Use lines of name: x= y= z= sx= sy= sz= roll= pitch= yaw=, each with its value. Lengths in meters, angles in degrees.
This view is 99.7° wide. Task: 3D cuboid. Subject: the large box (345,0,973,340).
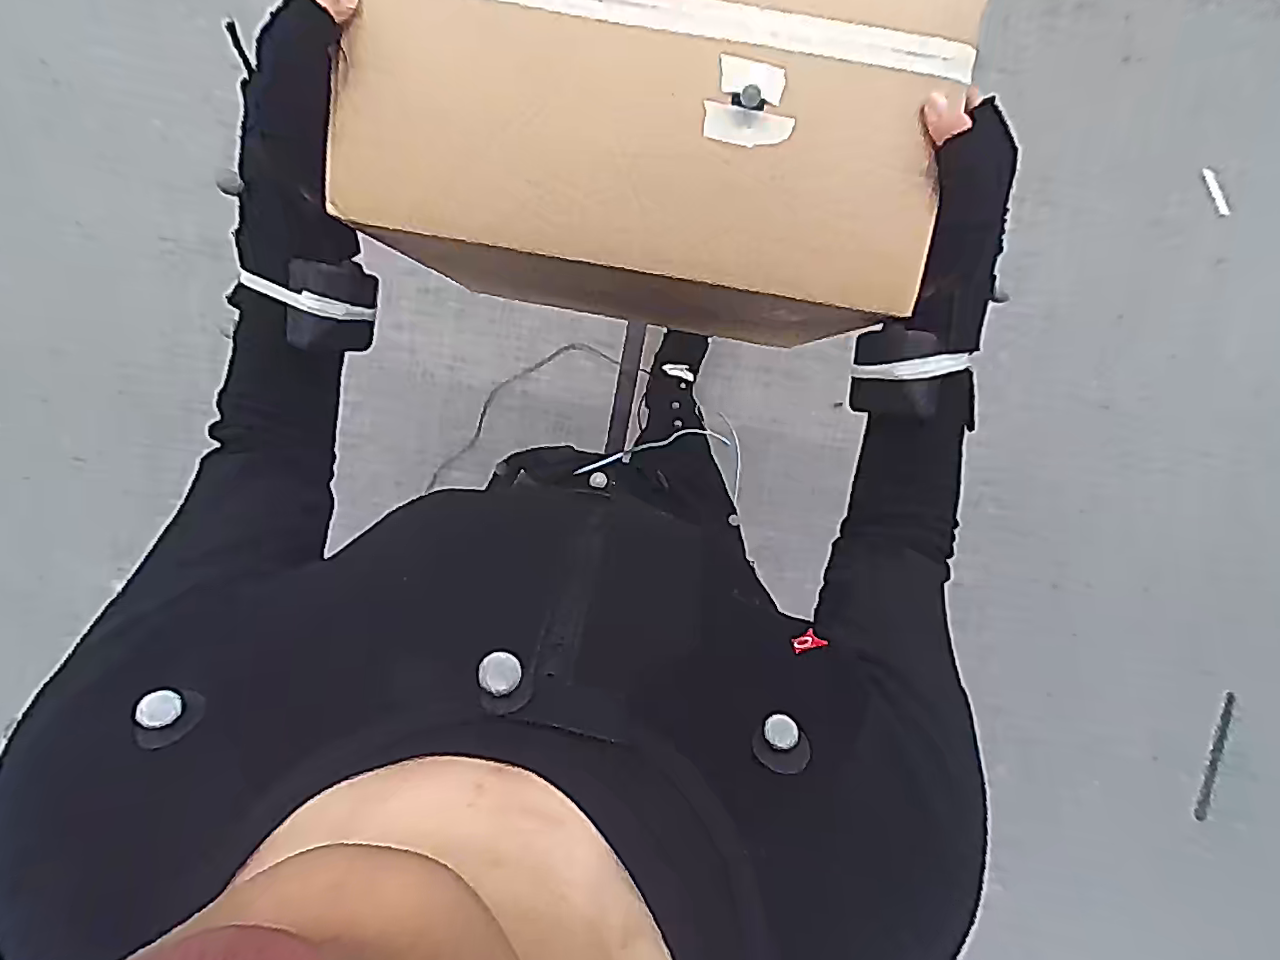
large box: x=0.011 y=-0.324 z=0.500 sx=0.408 sy=0.320 sz=0.320 roll=9 pitch=101 yaw=-2
